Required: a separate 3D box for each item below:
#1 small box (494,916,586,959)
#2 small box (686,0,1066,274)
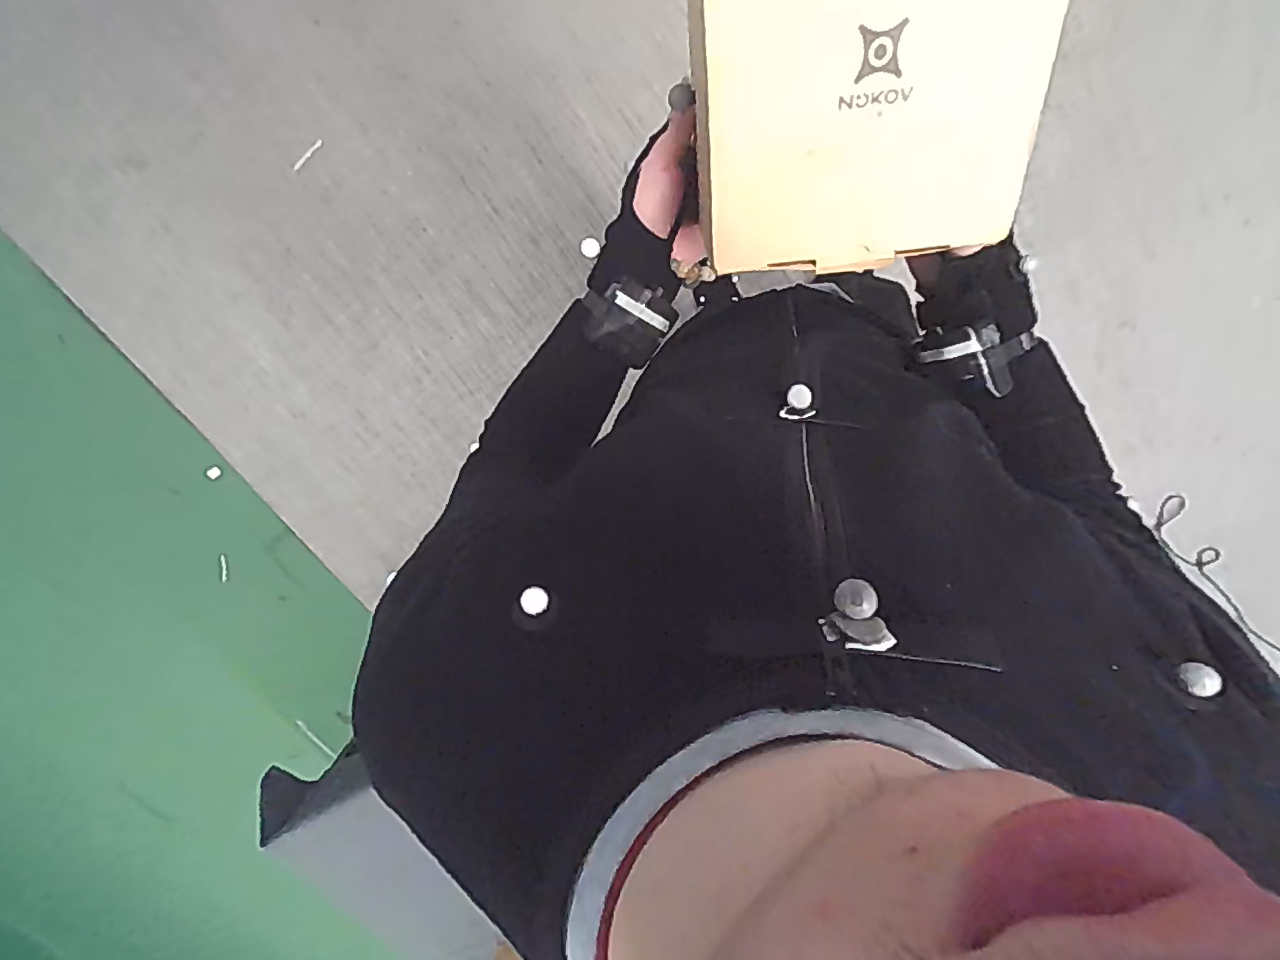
[{"bbox_3d":[-0.243,1.173,1.267,0.179,0.176,0.168,-33,104,18],"label":"small box"},{"bbox_3d":[0.116,-0.246,0.330,0.168,0.176,0.179,-5,127,4],"label":"small box"}]
